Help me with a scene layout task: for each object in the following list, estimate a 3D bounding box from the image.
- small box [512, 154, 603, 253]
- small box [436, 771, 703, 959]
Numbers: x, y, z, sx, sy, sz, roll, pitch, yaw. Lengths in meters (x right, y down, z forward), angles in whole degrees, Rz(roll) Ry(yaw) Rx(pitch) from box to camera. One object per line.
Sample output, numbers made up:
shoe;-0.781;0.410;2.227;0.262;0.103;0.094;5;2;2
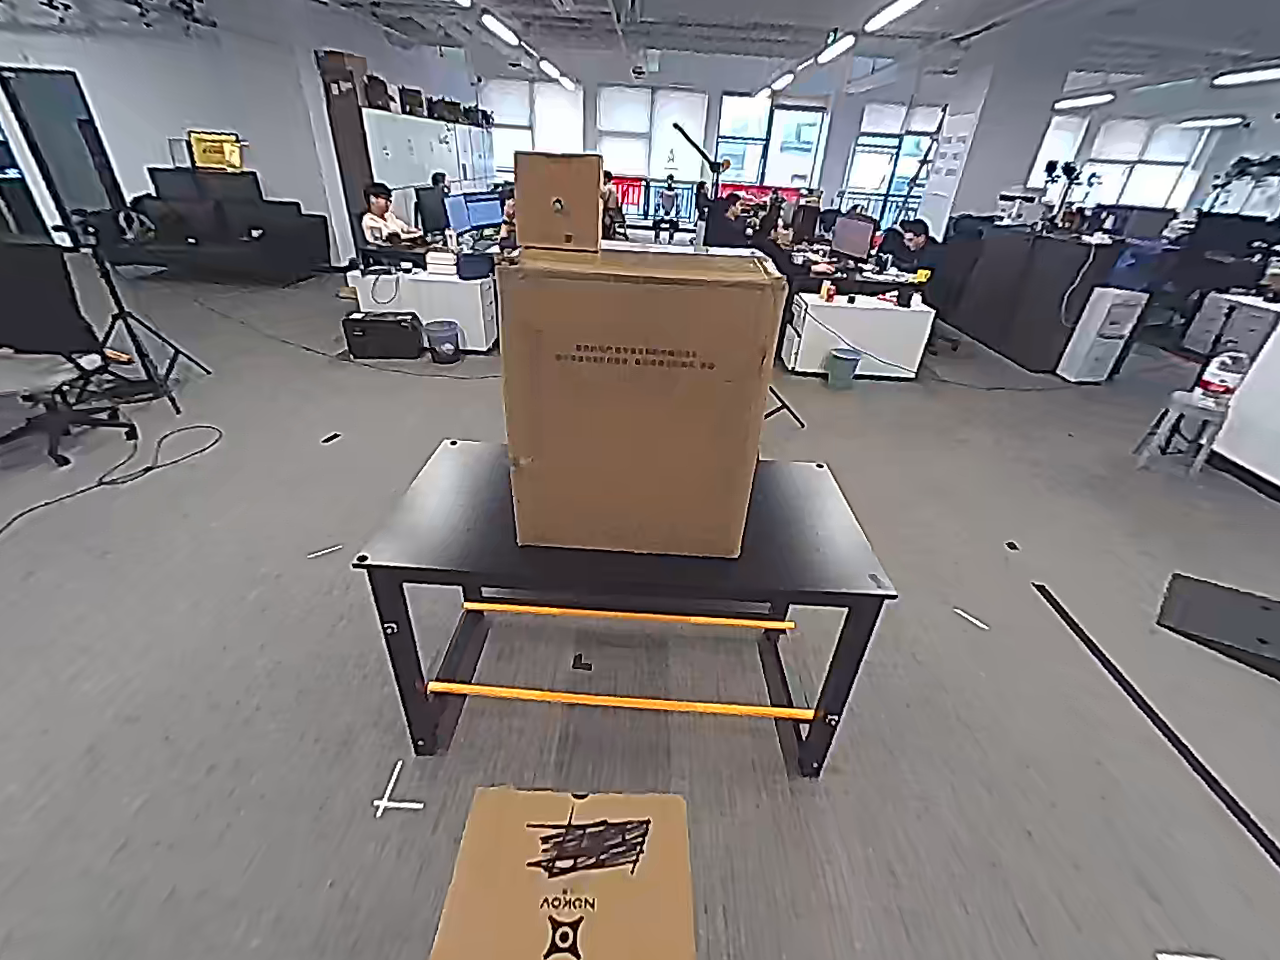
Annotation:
small box;-0.162;-0.571;1.116;0.168;0.176;0.179;2;30;-4
small box;-0.047;0.348;0.396;0.168;0.176;0.179;2;29;-1
